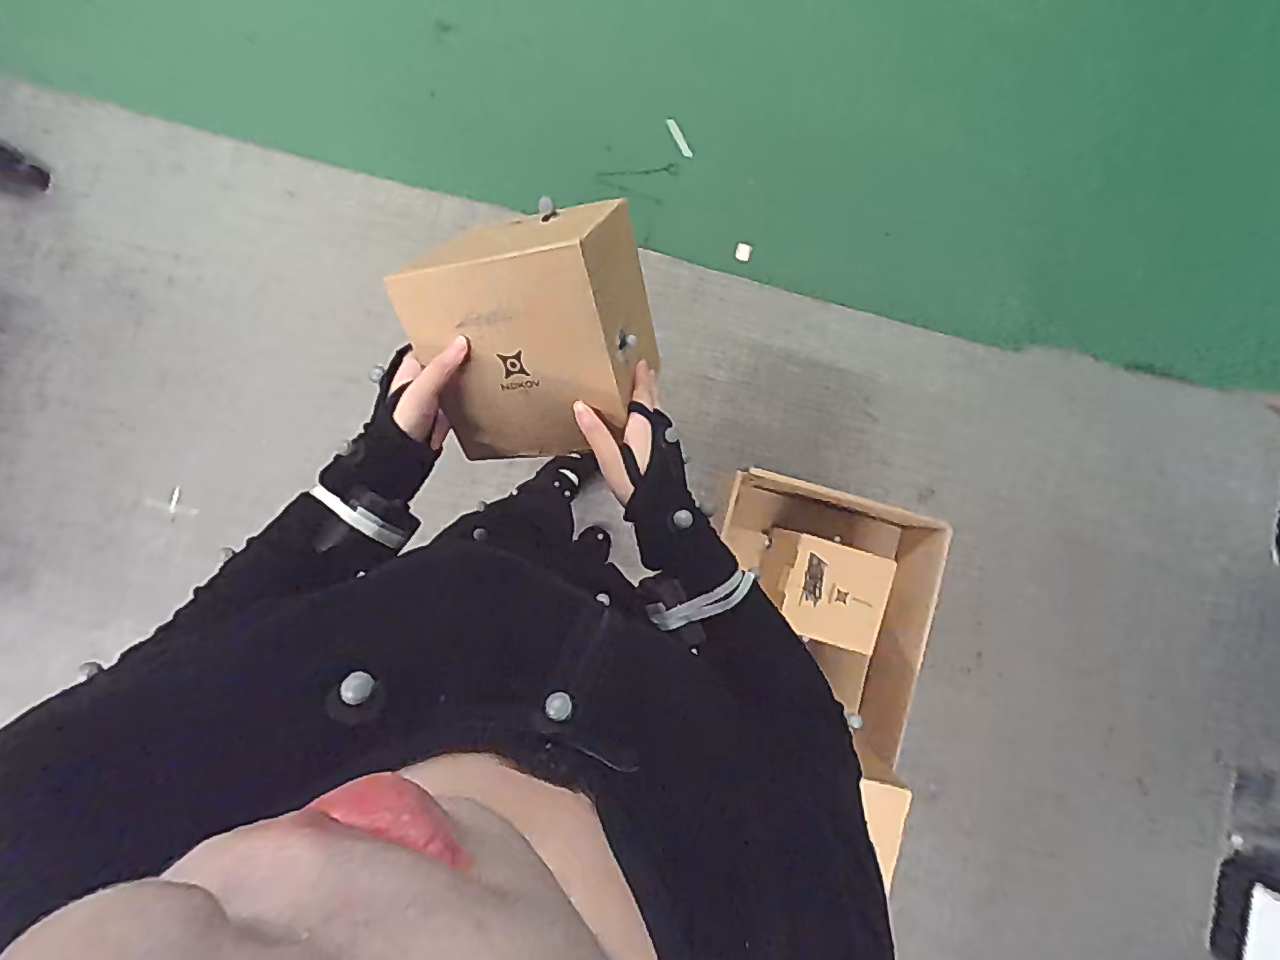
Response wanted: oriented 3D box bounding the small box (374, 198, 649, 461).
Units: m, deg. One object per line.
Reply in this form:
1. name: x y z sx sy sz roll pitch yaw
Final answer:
1. small box: -0.096 -0.139 0.504 0.168 0.176 0.179 -4 126 15
